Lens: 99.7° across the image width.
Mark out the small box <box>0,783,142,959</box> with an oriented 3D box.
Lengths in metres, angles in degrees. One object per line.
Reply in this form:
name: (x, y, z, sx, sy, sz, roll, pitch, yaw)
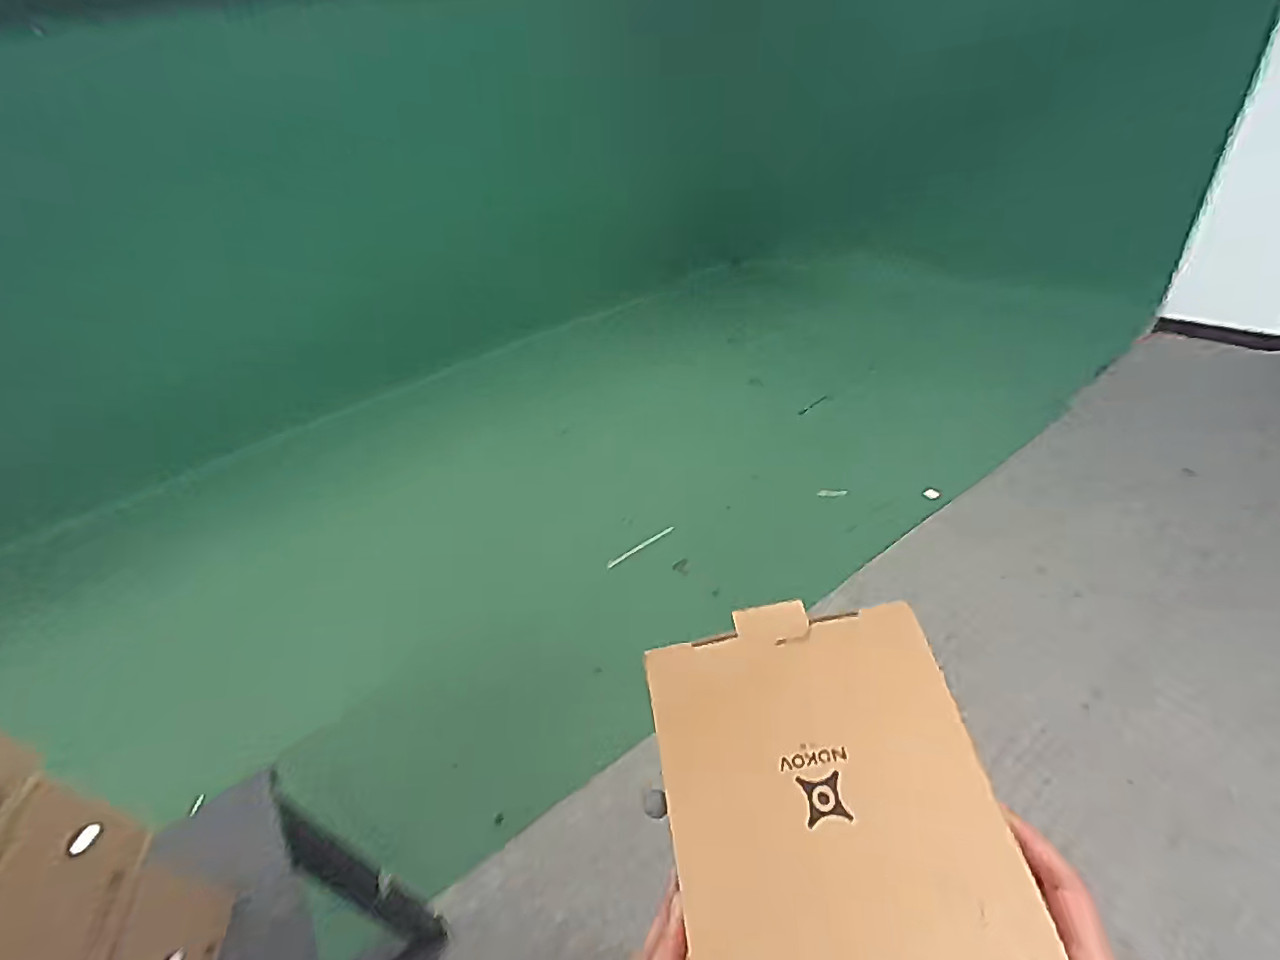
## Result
small box: (-0.644, 0.434, 0.512, 0.179, 0.176, 0.168, -22, 37, -8)
